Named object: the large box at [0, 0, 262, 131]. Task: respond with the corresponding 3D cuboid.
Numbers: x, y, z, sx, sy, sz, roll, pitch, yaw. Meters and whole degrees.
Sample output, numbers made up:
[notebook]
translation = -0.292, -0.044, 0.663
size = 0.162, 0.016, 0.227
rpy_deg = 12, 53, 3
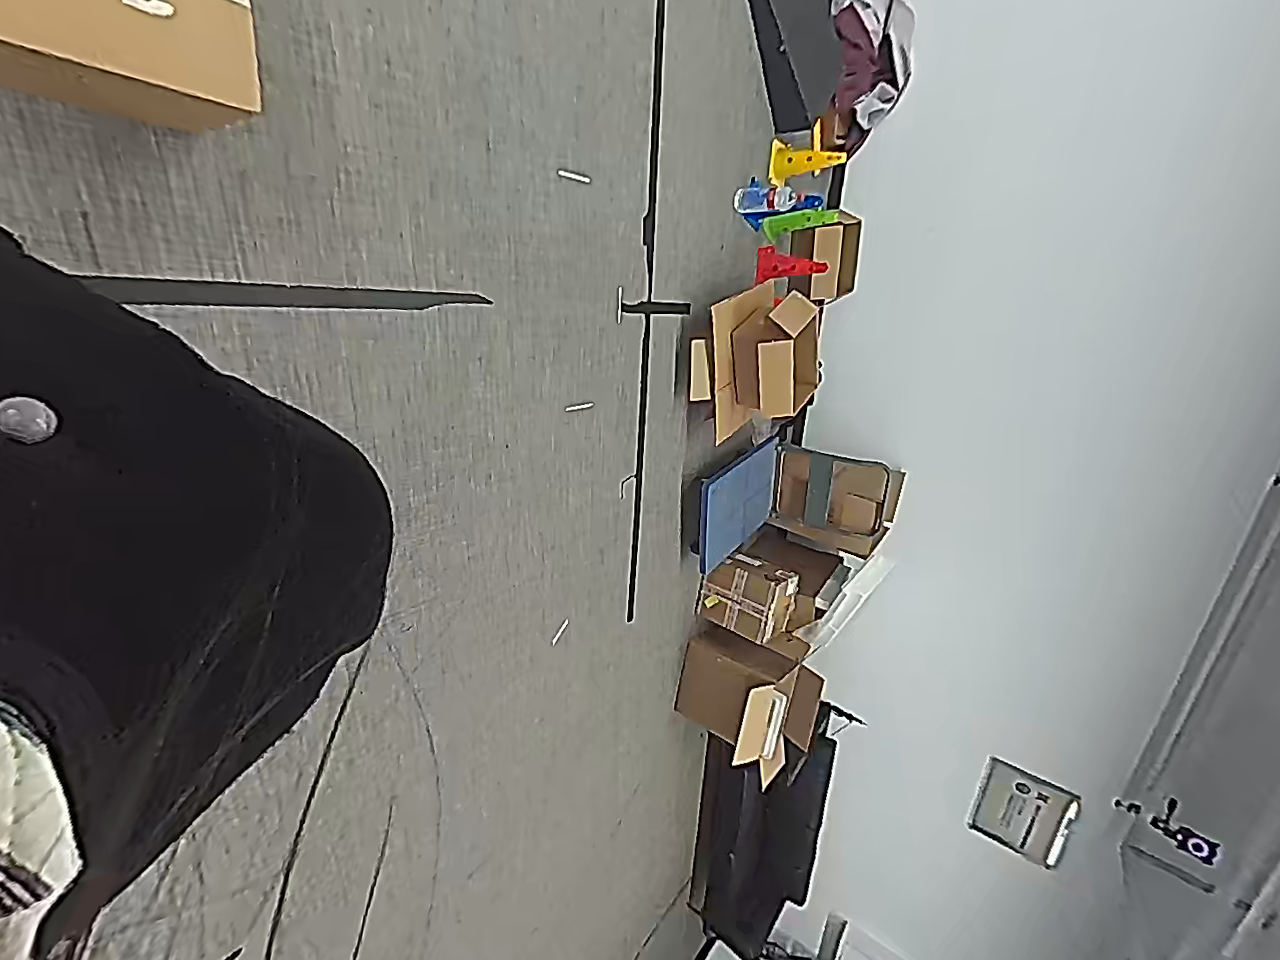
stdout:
[large box]
translation = -0.864, -0.759, 0.793
size = 0.408, 0.320, 0.320
rpy_deg = -18, 119, -51
